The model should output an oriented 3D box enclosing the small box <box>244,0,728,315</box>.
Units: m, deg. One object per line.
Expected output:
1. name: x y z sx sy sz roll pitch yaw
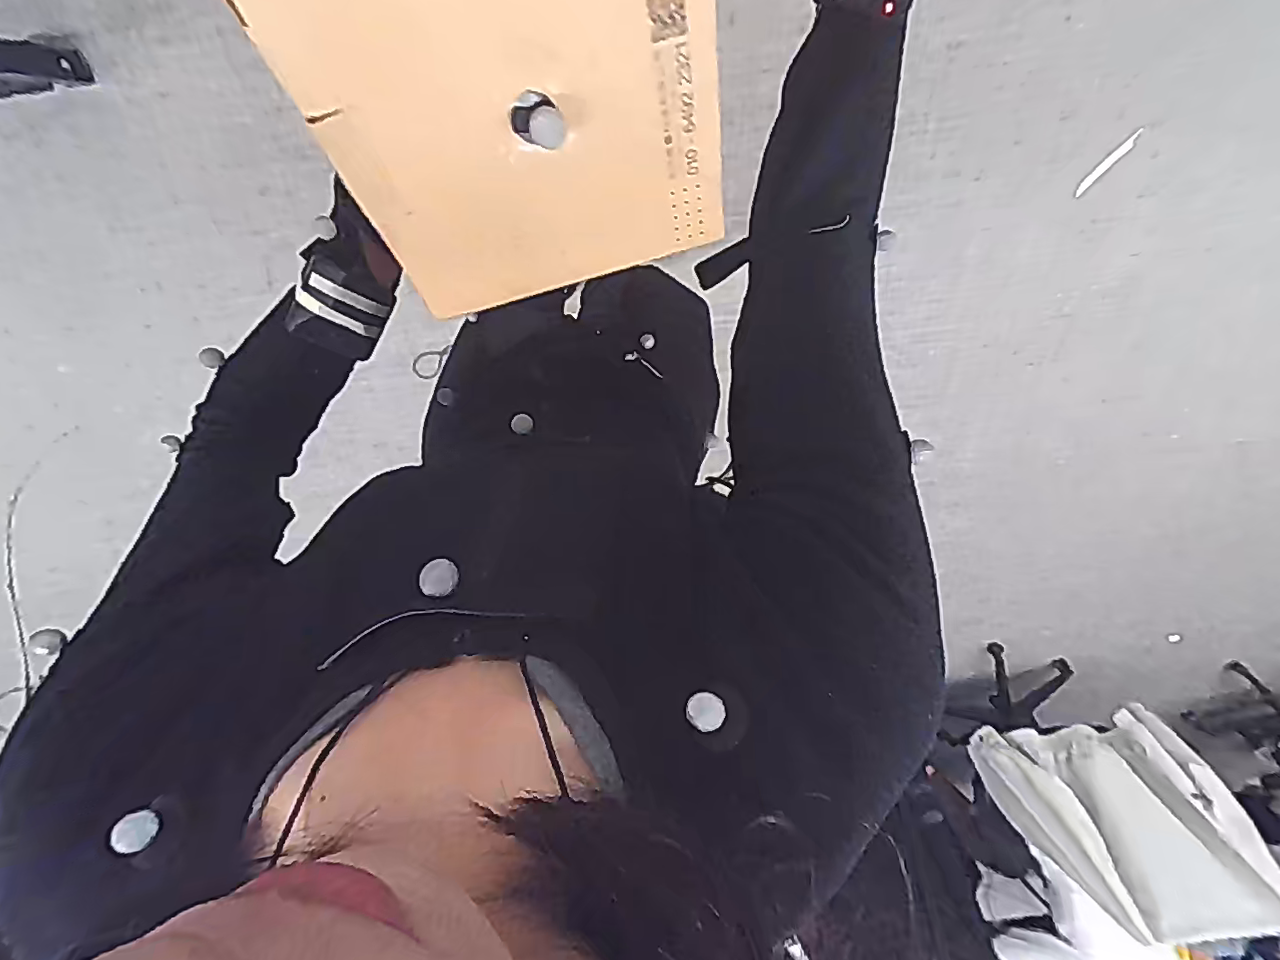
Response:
1. small box: -0.060 -0.218 0.261 0.176 0.179 0.168 -16 148 -1
